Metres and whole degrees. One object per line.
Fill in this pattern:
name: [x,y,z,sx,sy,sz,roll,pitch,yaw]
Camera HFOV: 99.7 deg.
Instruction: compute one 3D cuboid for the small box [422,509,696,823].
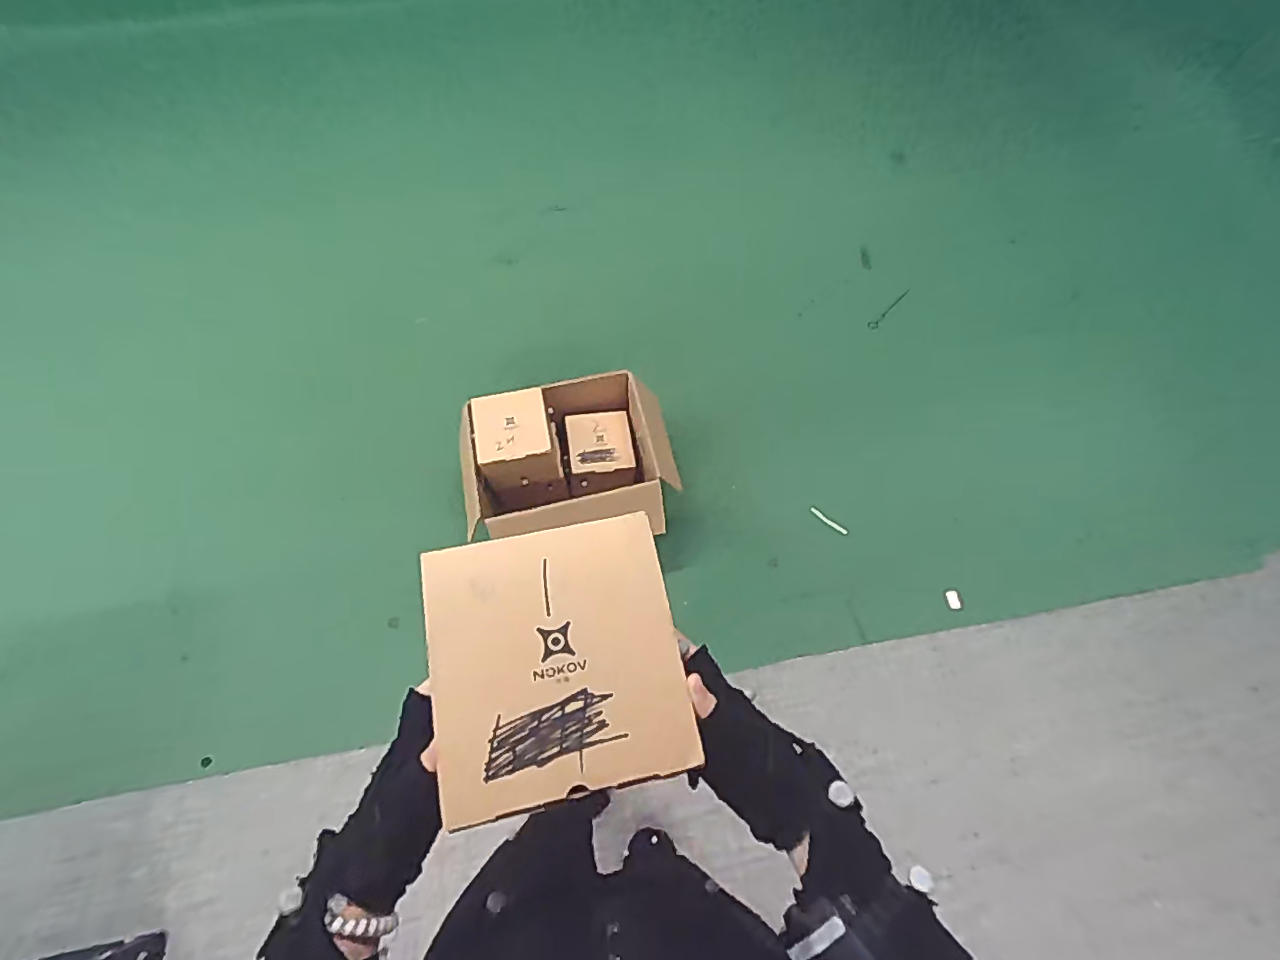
small box: [-0.062,0.141,0.437,0.168,0.176,0.179,-10,70,-8]
